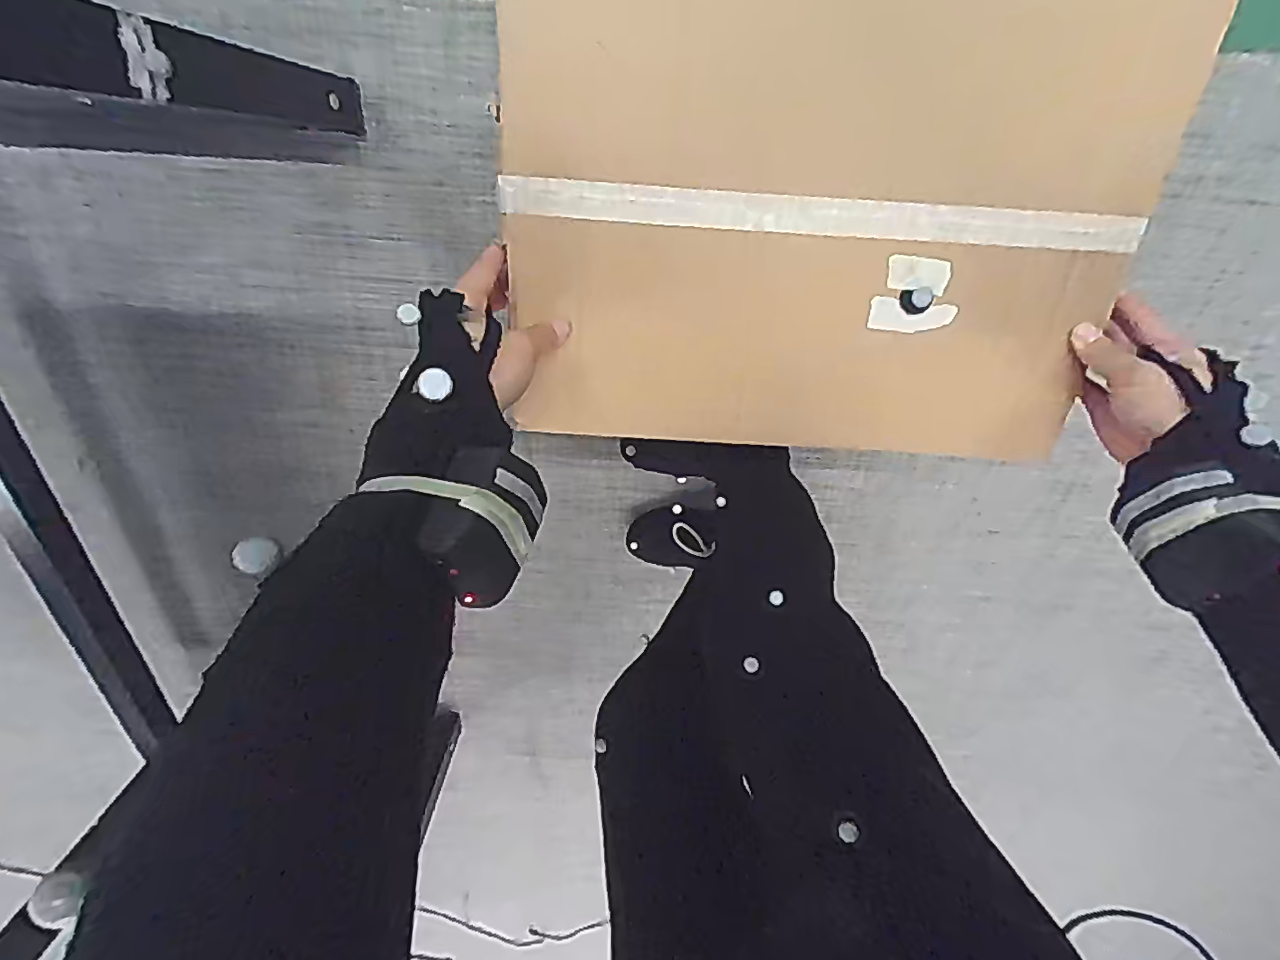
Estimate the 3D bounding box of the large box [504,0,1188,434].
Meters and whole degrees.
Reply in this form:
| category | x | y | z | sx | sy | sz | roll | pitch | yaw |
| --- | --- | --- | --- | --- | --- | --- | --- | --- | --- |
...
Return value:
| category | x | y | z | sx | sy | sz | roll | pitch | yaw |
| --- | --- | --- | --- | --- | --- | --- | --- | --- | --- |
| large box | 0.112 | -0.239 | 0.491 | 0.408 | 0.320 | 0.320 | 2 | 115 | -3 |
